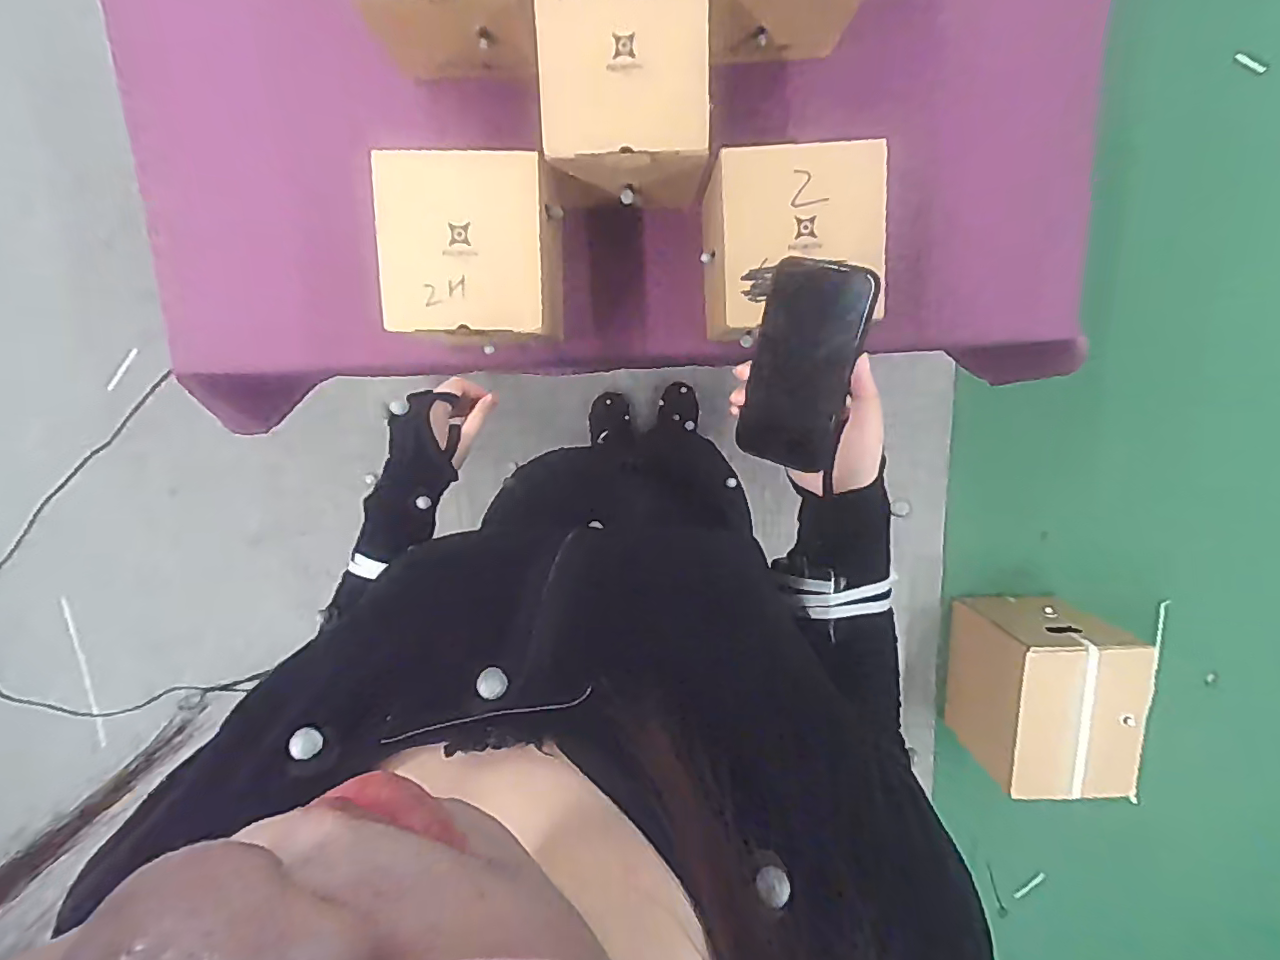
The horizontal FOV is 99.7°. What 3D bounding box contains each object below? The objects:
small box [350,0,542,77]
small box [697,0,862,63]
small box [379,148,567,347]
[{"bbox_3d":[-0.201,-0.559,0.569,0.168,0.176,0.179,-2,101,-1],"label":"small box"},{"bbox_3d":[0.148,-0.584,0.566,0.168,0.176,0.179,-4,102,1],"label":"small box"},{"bbox_3d":[-0.178,-0.252,0.625,0.168,0.176,0.179,1,100,0],"label":"small box"}]
